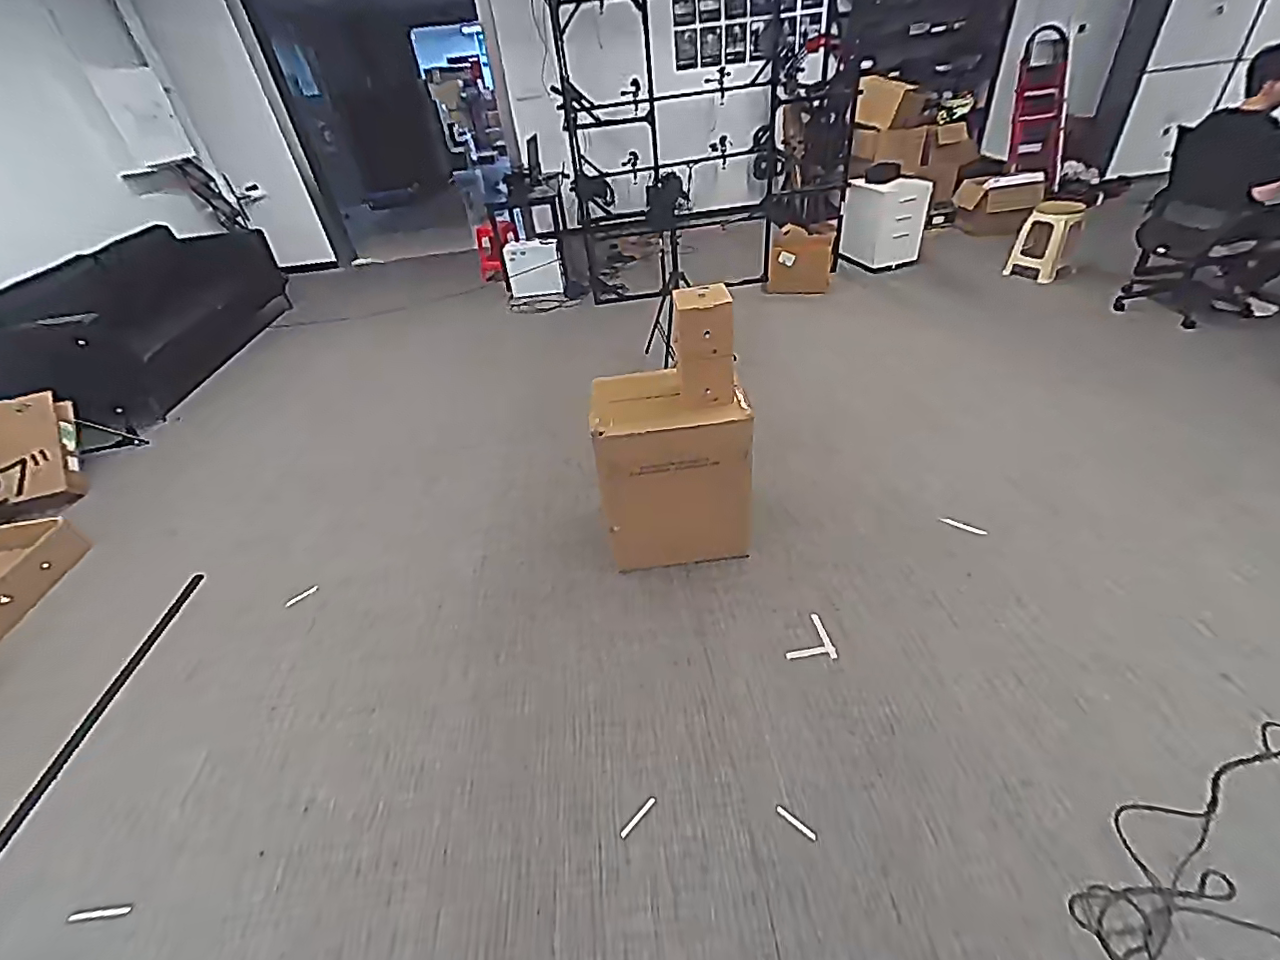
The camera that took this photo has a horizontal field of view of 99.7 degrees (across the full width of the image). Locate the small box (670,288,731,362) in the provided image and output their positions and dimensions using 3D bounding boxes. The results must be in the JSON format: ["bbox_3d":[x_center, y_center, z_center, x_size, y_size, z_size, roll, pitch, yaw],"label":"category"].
[{"bbox_3d":[0.191,-0.481,1.702,0.168,0.176,0.179,-8,38,2],"label":"small box"}]

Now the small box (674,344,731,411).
[{"bbox_3d":[0.206,-0.350,1.799,0.168,0.176,0.179,-8,38,1],"label":"small box"}]
